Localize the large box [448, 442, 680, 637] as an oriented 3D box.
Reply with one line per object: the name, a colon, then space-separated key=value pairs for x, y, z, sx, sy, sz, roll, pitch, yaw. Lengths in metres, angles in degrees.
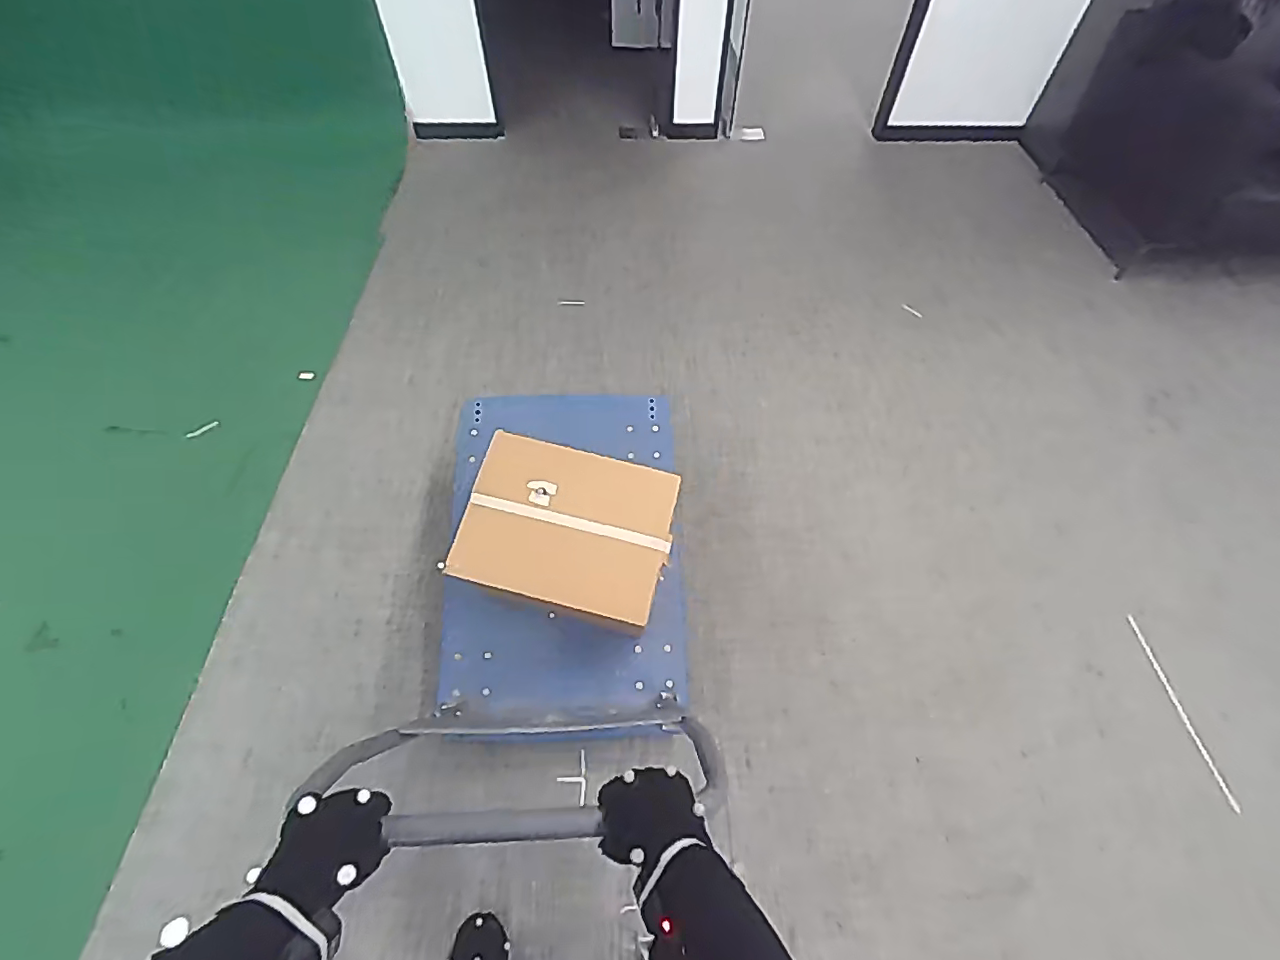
large box: x=-0.141 y=0.148 z=1.210 sx=0.408 sy=0.320 sz=0.320 roll=13 pitch=70 yaw=5
